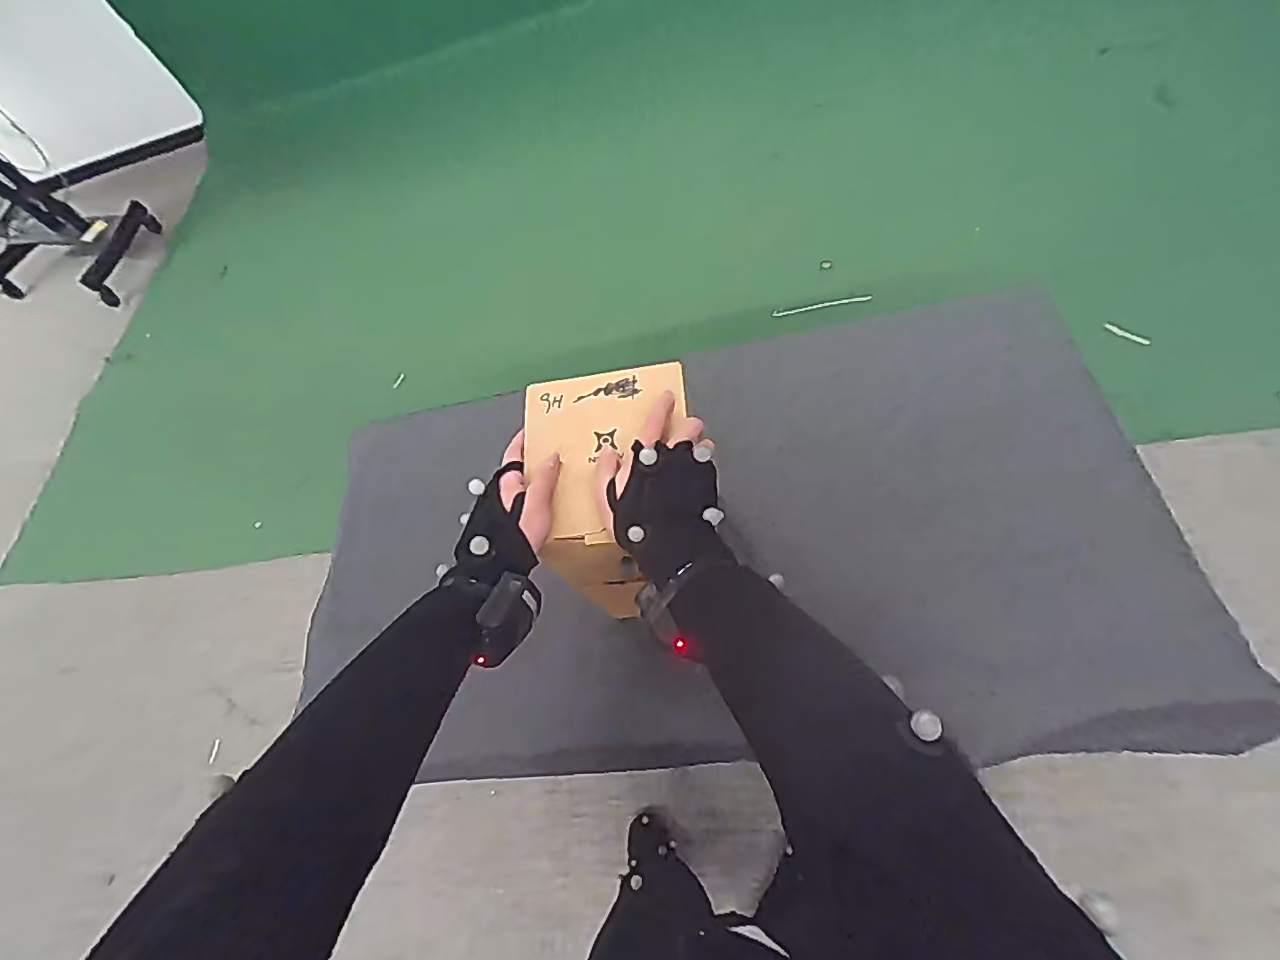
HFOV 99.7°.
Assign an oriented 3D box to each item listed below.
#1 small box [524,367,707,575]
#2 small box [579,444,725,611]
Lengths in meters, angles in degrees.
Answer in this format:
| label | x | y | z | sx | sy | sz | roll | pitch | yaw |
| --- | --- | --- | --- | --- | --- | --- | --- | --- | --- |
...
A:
| label | x | y | z | sx | sy | sz | roll | pitch | yaw |
| --- | --- | --- | --- | --- | --- | --- | --- | --- | --- |
| small box | -0.018 | 0.004 | 0.595 | 0.168 | 0.176 | 0.179 | -7 | 67 | 8 |
| small box | 0.019 | 0.073 | 0.735 | 0.168 | 0.176 | 0.179 | -9 | 62 | 9 |
